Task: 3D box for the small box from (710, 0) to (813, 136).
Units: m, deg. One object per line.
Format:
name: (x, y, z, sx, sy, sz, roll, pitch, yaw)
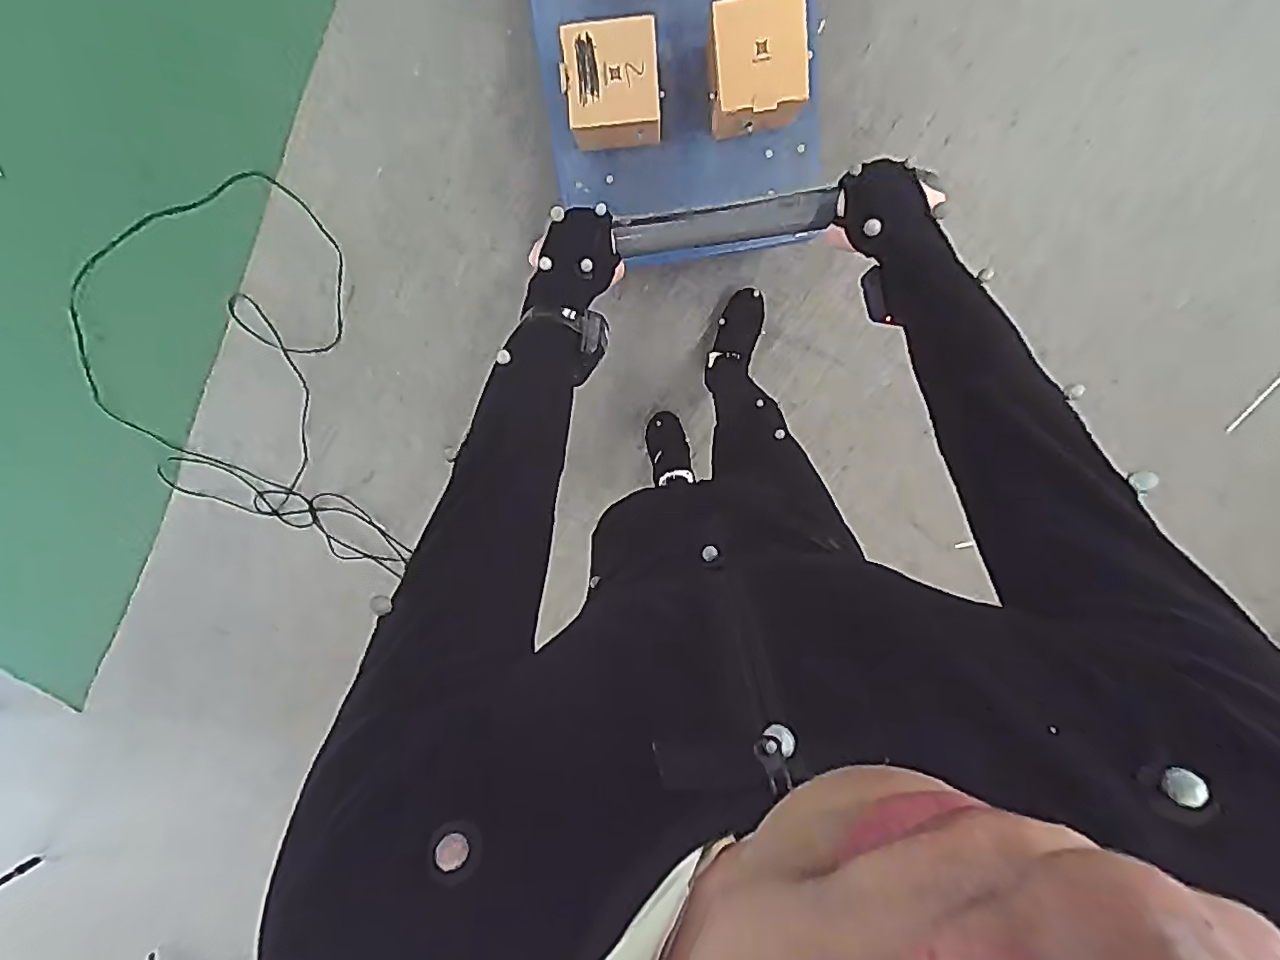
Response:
small box: (0.230, -0.803, 1.053, 0.168, 0.176, 0.179, -7, 109, 5)
